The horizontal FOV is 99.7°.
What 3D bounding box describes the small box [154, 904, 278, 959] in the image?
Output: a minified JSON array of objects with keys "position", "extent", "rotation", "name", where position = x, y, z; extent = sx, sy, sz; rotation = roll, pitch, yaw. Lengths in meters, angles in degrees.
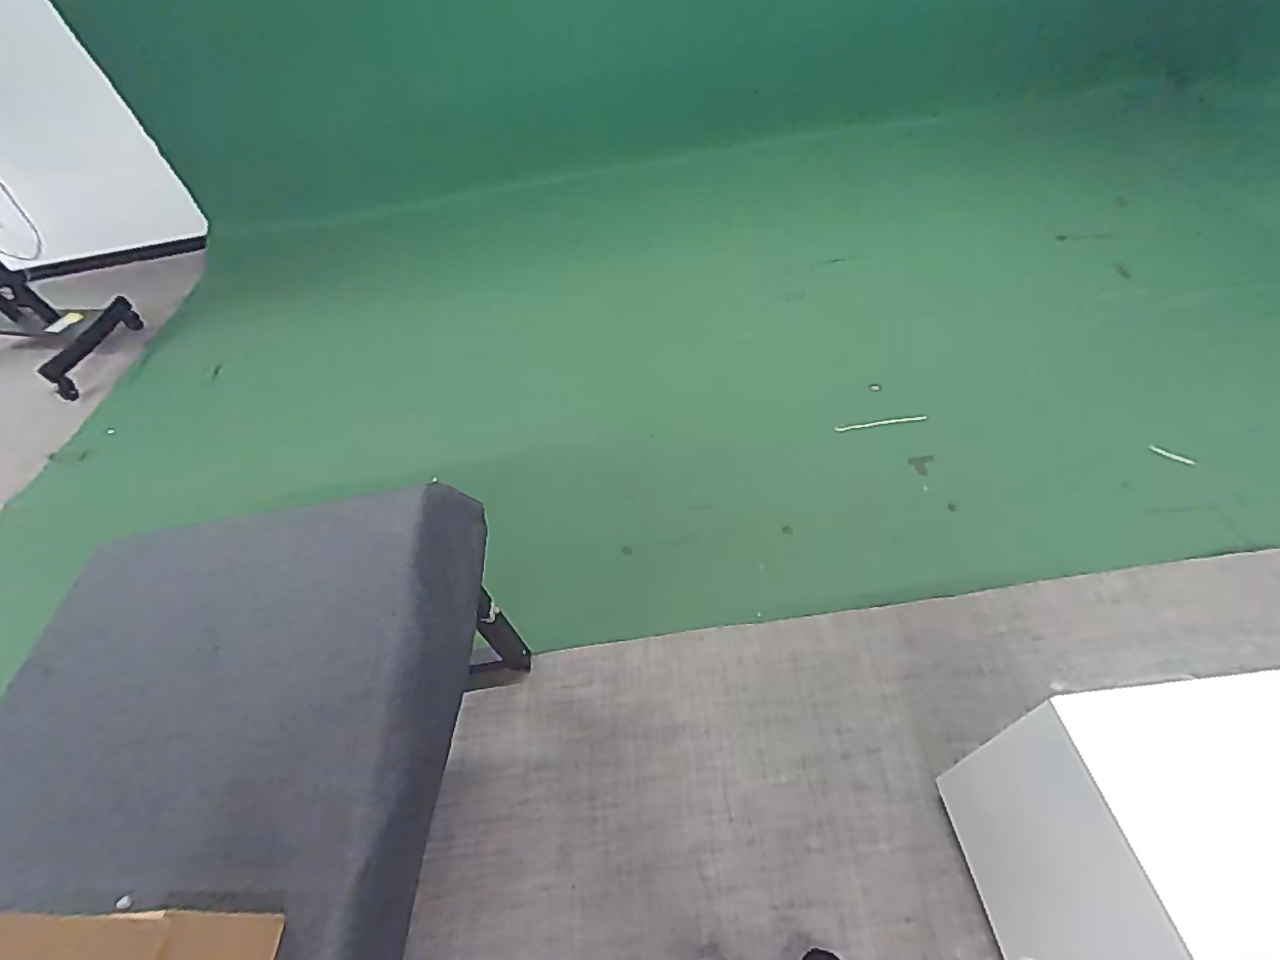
[{"position":[-0.471,0.494,0.482],"extent":[0.168,0.176,0.179],"rotation":[-7,51,5],"name":"small box"}]
